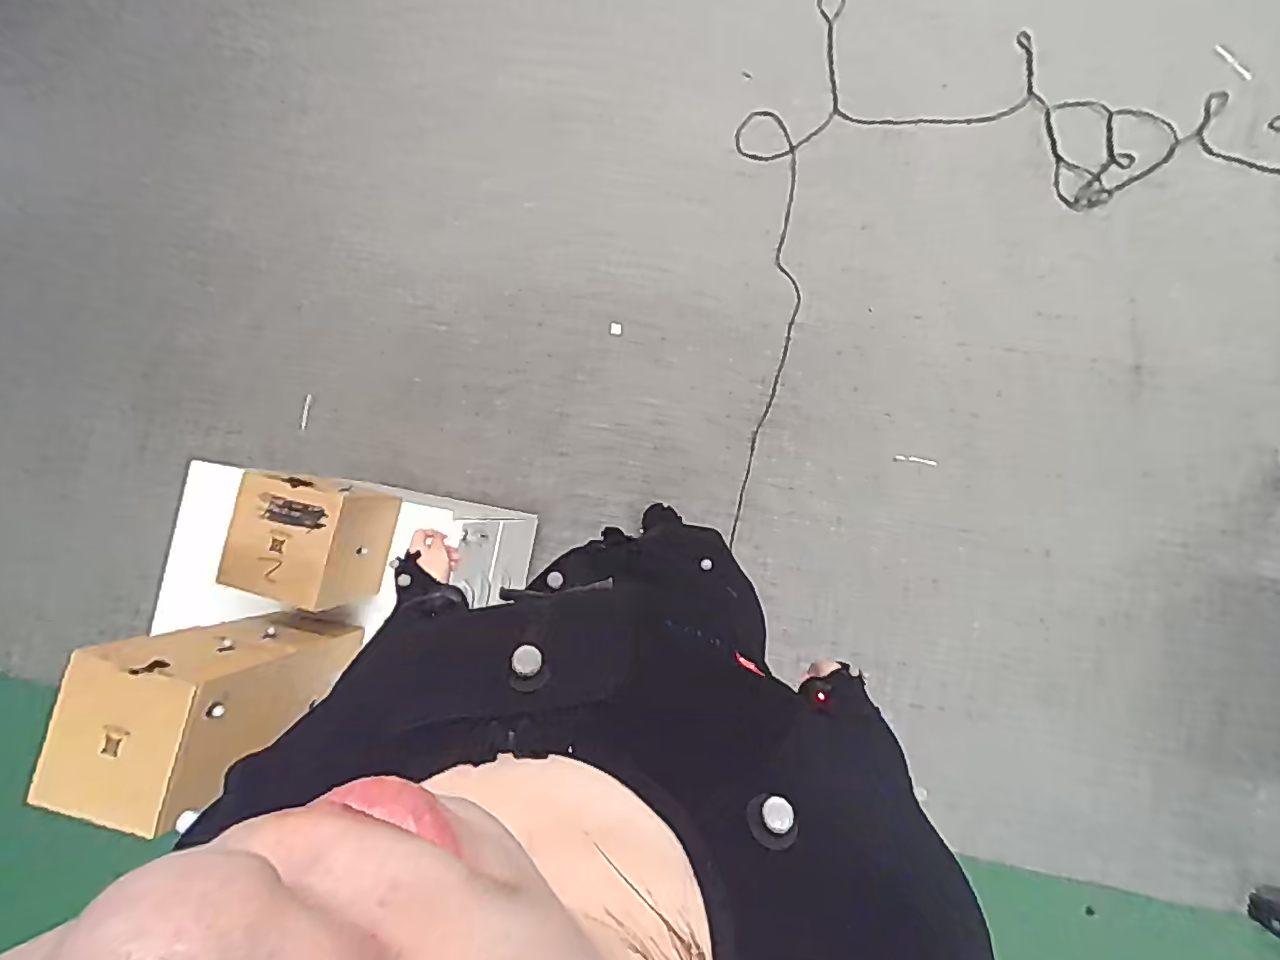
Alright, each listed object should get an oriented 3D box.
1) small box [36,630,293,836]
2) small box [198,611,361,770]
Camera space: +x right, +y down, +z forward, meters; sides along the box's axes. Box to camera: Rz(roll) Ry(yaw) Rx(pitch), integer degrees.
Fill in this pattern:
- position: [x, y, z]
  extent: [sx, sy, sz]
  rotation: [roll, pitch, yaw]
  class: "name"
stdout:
- position: [-0.592, 0.308, 0.699]
  extent: [0.168, 0.176, 0.179]
  rotation: [11, 85, 5]
  class: "small box"
- position: [-0.578, 0.321, 0.861]
  extent: [0.168, 0.176, 0.179]
  rotation: [10, 86, 5]
  class: "small box"
